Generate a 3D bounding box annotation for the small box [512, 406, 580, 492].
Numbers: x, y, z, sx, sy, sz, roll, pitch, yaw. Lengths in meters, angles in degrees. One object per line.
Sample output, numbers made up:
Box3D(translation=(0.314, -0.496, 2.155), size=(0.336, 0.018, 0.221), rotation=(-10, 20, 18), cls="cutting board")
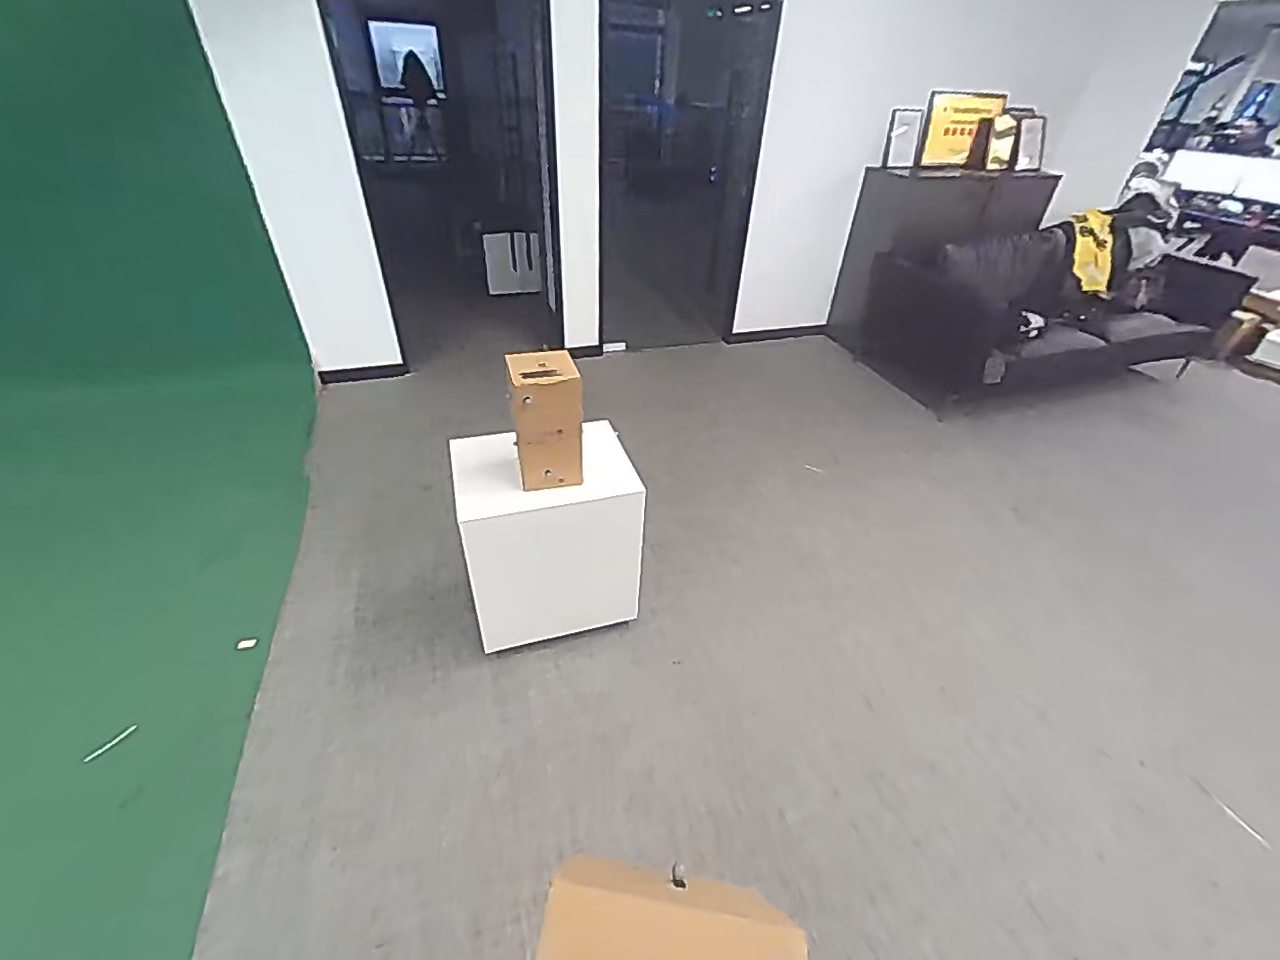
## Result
Box3D(translation=(-0.263, -0.088, 1.508), size=(0.168, 0.176, 0.179), rotation=(-8, 37, -15), cls="small box")
